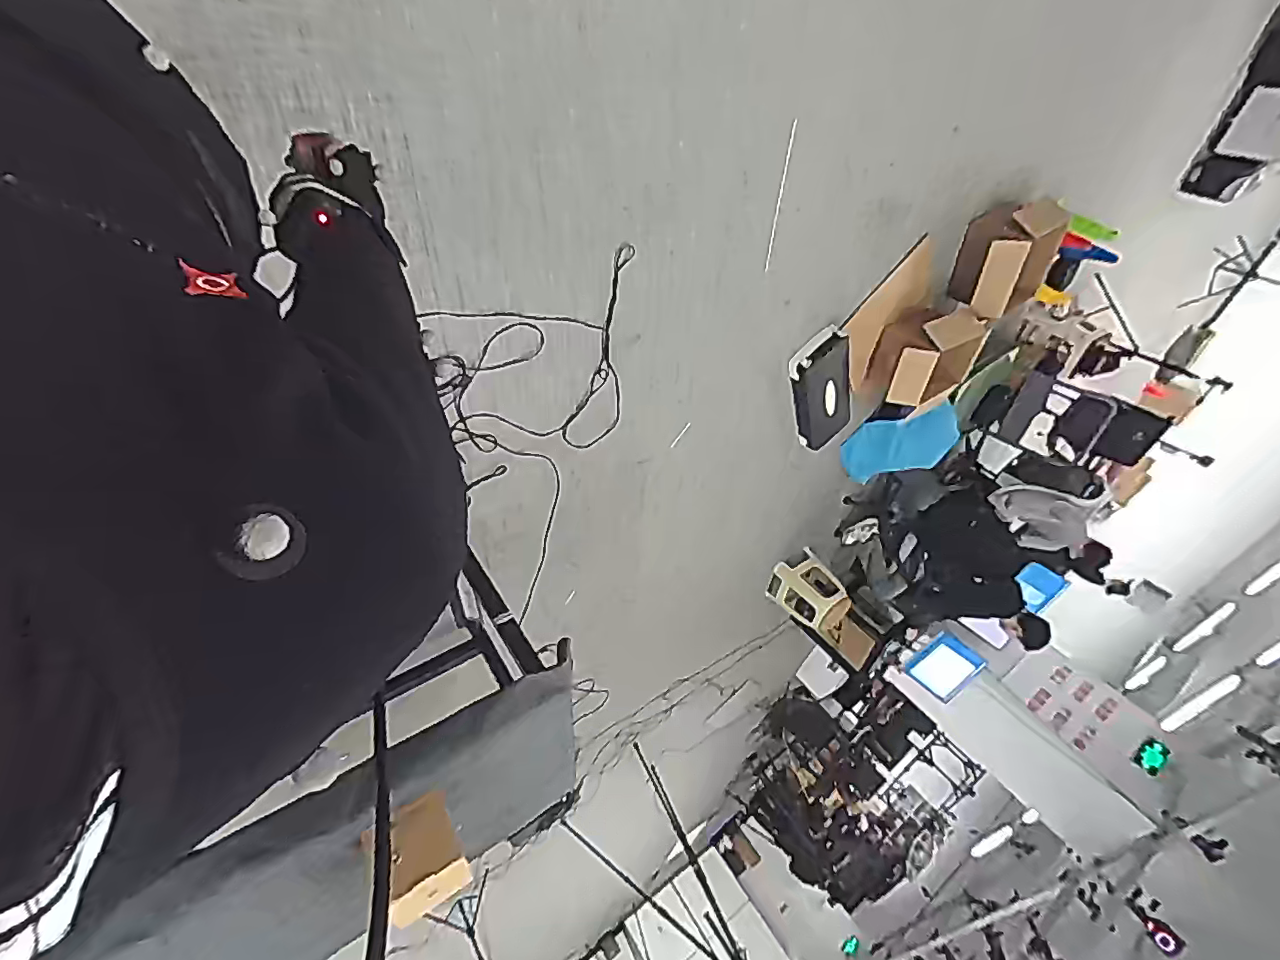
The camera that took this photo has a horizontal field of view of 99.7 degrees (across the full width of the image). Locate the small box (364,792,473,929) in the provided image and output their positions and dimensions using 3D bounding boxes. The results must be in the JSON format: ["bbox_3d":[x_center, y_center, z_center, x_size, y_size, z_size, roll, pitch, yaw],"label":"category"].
[{"bbox_3d":[-0.489,0.831,1.194,0.168,0.176,0.179,-22,138,-28],"label":"small box"}]
